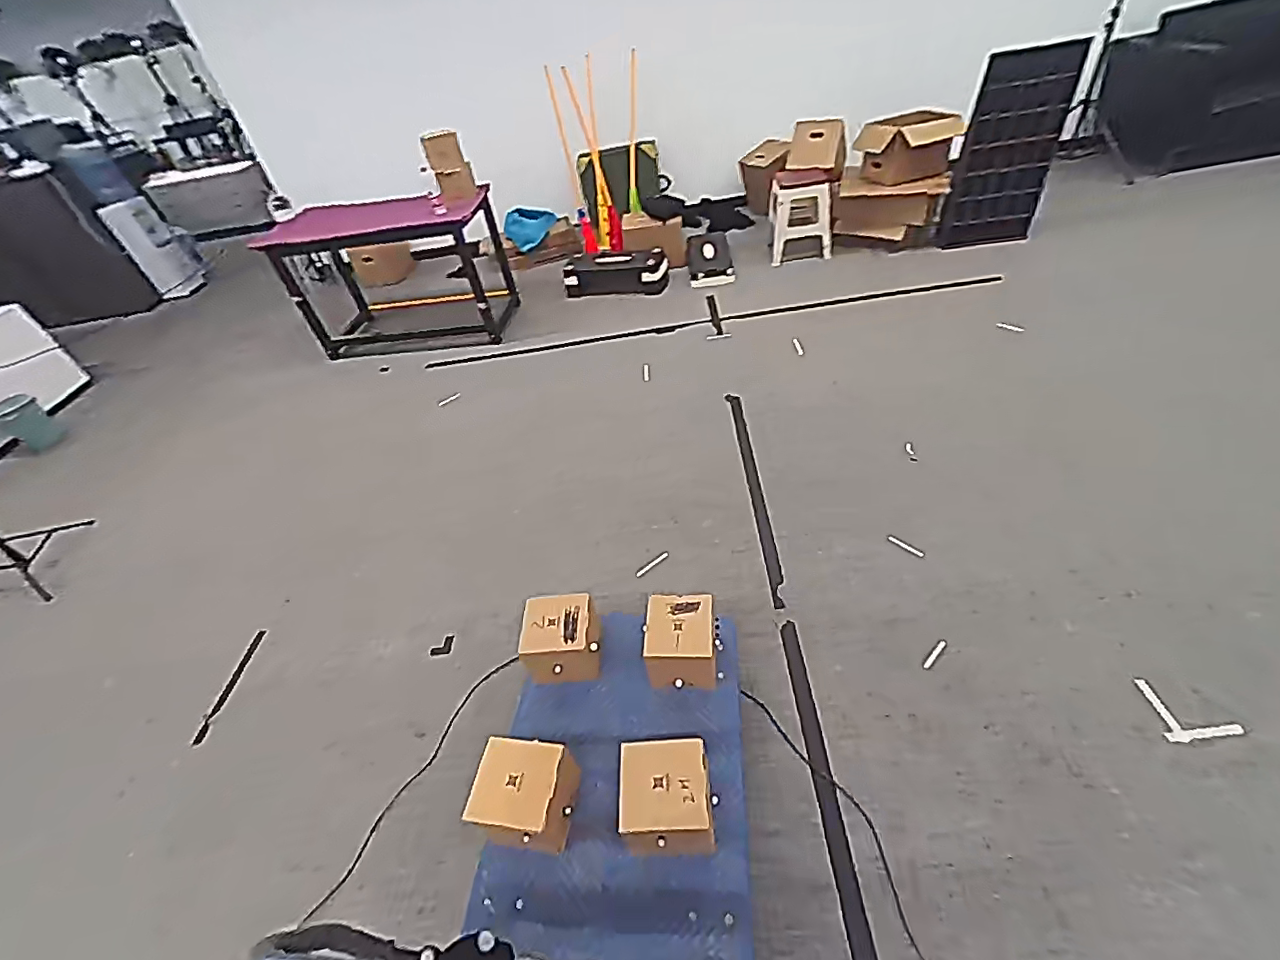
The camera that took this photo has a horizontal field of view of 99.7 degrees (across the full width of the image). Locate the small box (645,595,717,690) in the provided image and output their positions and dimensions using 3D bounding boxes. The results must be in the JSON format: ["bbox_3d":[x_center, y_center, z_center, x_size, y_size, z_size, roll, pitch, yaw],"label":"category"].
[{"bbox_3d":[0.111,0.416,1.387,0.168,0.176,0.179,-2,44,10],"label":"small box"}]

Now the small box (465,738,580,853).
[{"bbox_3d":[-0.245,0.686,1.175,0.179,0.176,0.168,1,43,11],"label":"small box"}]

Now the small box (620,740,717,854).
[{"bbox_3d":[0.061,0.664,1.129,0.179,0.176,0.168,-6,43,6],"label":"small box"}]
